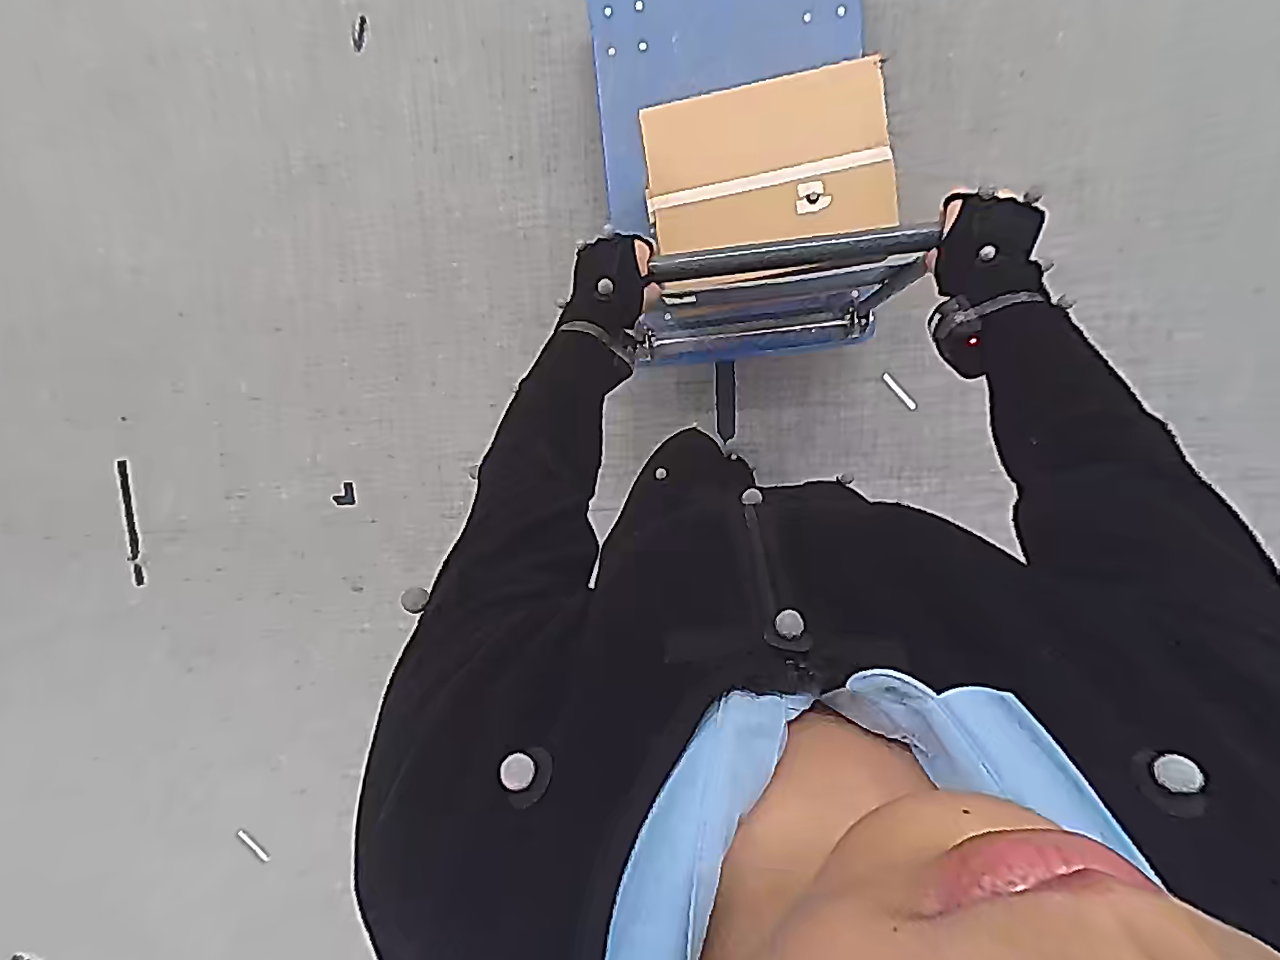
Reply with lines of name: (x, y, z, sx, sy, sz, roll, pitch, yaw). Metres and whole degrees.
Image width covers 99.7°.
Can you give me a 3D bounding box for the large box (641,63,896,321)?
large box: (0.232, -0.531, 1.081, 0.408, 0.320, 0.320, -9, 97, 5)
